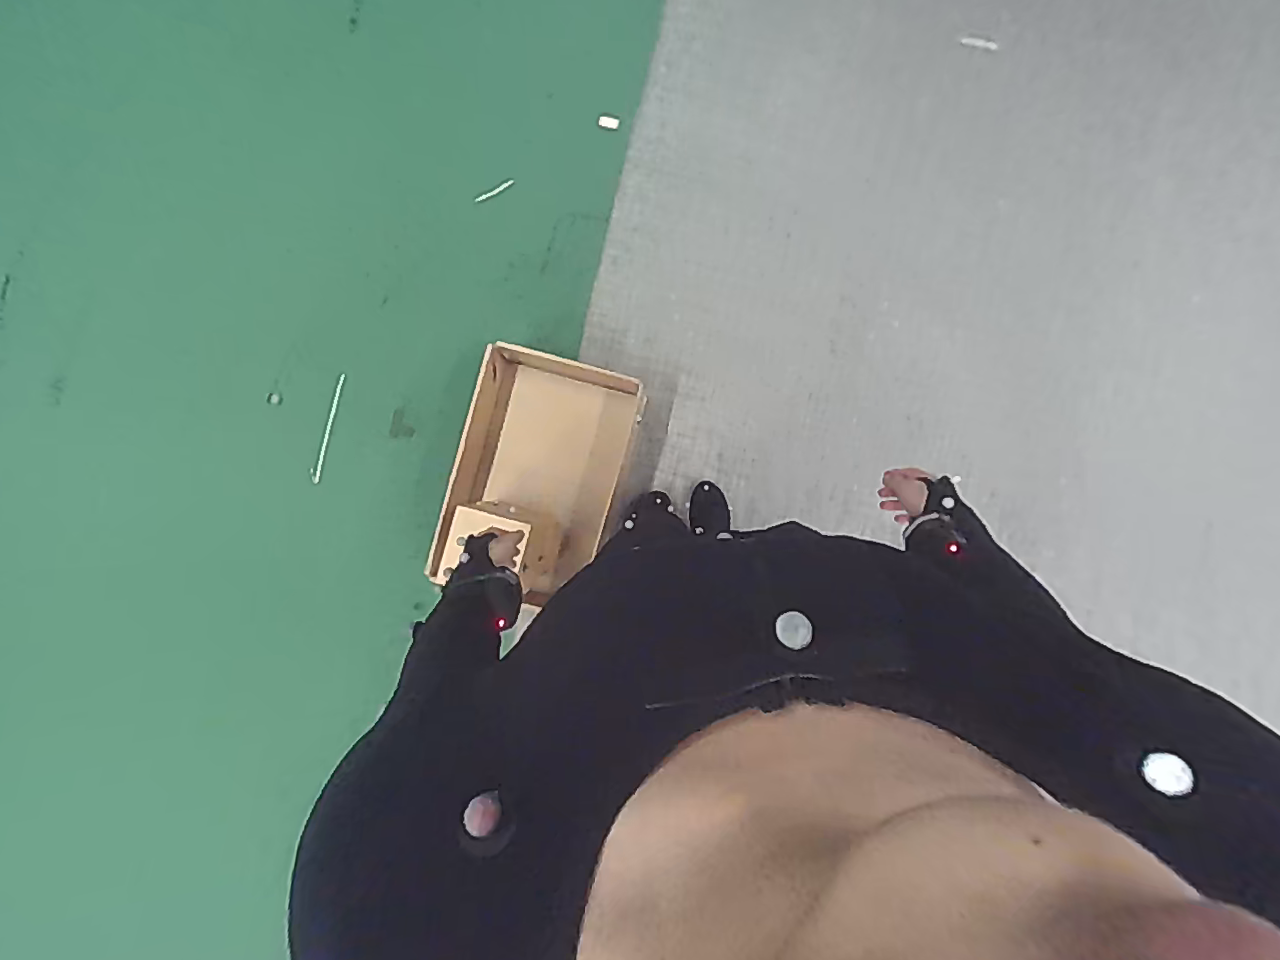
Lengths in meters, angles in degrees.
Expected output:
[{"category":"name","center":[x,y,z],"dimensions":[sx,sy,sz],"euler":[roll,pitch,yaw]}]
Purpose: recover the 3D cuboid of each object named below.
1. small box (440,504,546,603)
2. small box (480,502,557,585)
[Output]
[{"category":"small box","center":[-0.318,0.157,1.209],"dimensions":[0.168,0.176,0.179],"euler":[15,88,1]},{"category":"small box","center":[-0.321,0.153,1.373],"dimensions":[0.179,0.176,0.168],"euler":[14,89,2]}]
